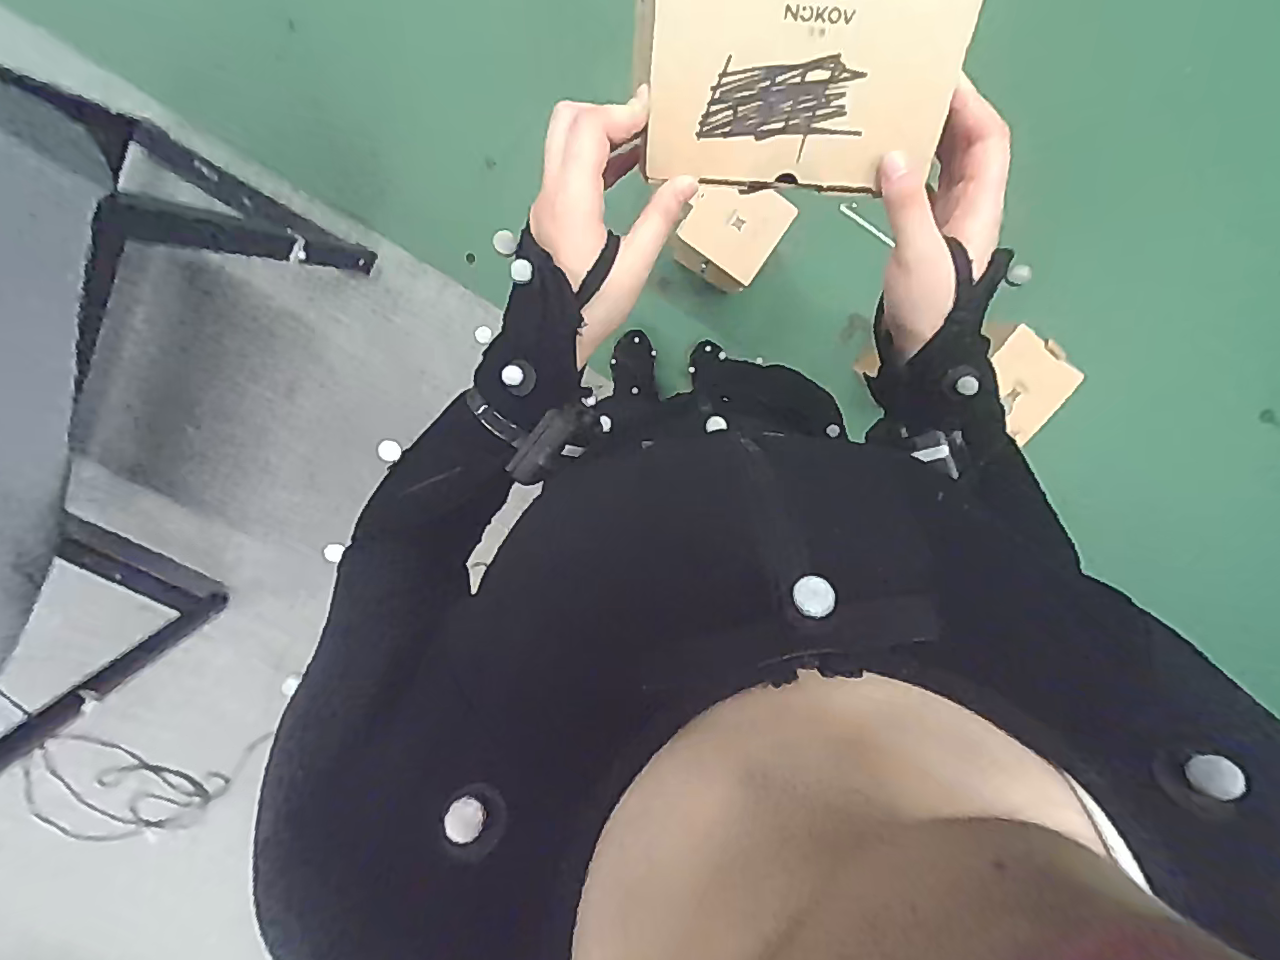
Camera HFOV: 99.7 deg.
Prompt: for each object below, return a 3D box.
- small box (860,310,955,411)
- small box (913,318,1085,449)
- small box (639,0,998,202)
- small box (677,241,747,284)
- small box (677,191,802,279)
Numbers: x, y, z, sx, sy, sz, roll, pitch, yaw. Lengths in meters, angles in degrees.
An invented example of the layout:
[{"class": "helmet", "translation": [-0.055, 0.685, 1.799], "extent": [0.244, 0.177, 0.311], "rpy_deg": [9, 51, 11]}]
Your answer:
[{"class": "small box", "translation": [0.675, -0.298, 1.337], "extent": [0.168, 0.176, 0.179], "rpy_deg": [38, 104, -12]}, {"class": "small box", "translation": [0.666, -0.191, 1.026], "extent": [0.168, 0.176, 0.179], "rpy_deg": [34, 104, -12]}, {"class": "small box", "translation": [0.088, -0.281, 0.323], "extent": [0.168, 0.176, 0.179], "rpy_deg": [0, 126, -5]}, {"class": "small box", "translation": [0.199, -0.565, 1.244], "extent": [0.179, 0.176, 0.168], "rpy_deg": [30, 107, -9]}, {"class": "small box", "translation": [0.188, -0.520, 1.088], "extent": [0.179, 0.176, 0.168], "rpy_deg": [32, 106, -10]}]
